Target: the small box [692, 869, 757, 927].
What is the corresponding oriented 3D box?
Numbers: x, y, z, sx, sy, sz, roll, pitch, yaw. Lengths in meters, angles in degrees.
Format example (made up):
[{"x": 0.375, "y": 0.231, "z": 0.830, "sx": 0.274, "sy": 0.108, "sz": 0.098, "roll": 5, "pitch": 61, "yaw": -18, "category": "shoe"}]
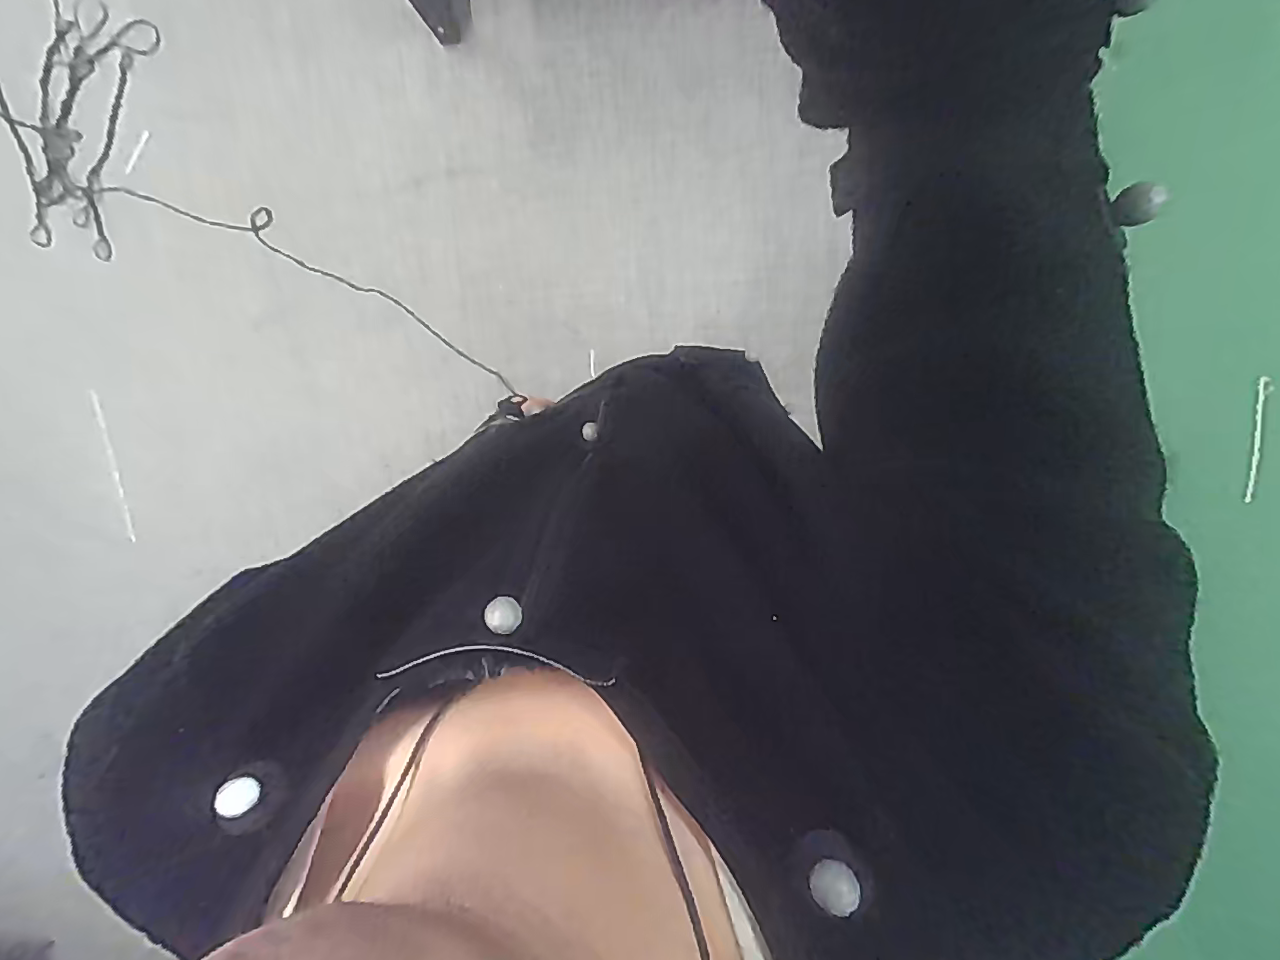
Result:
[{"x": 0.247, "y": 1.165, "z": 1.597, "sx": 0.179, "sy": 0.176, "sz": 0.168, "roll": 3, "pitch": 101, "yaw": 5, "category": "small box"}]
